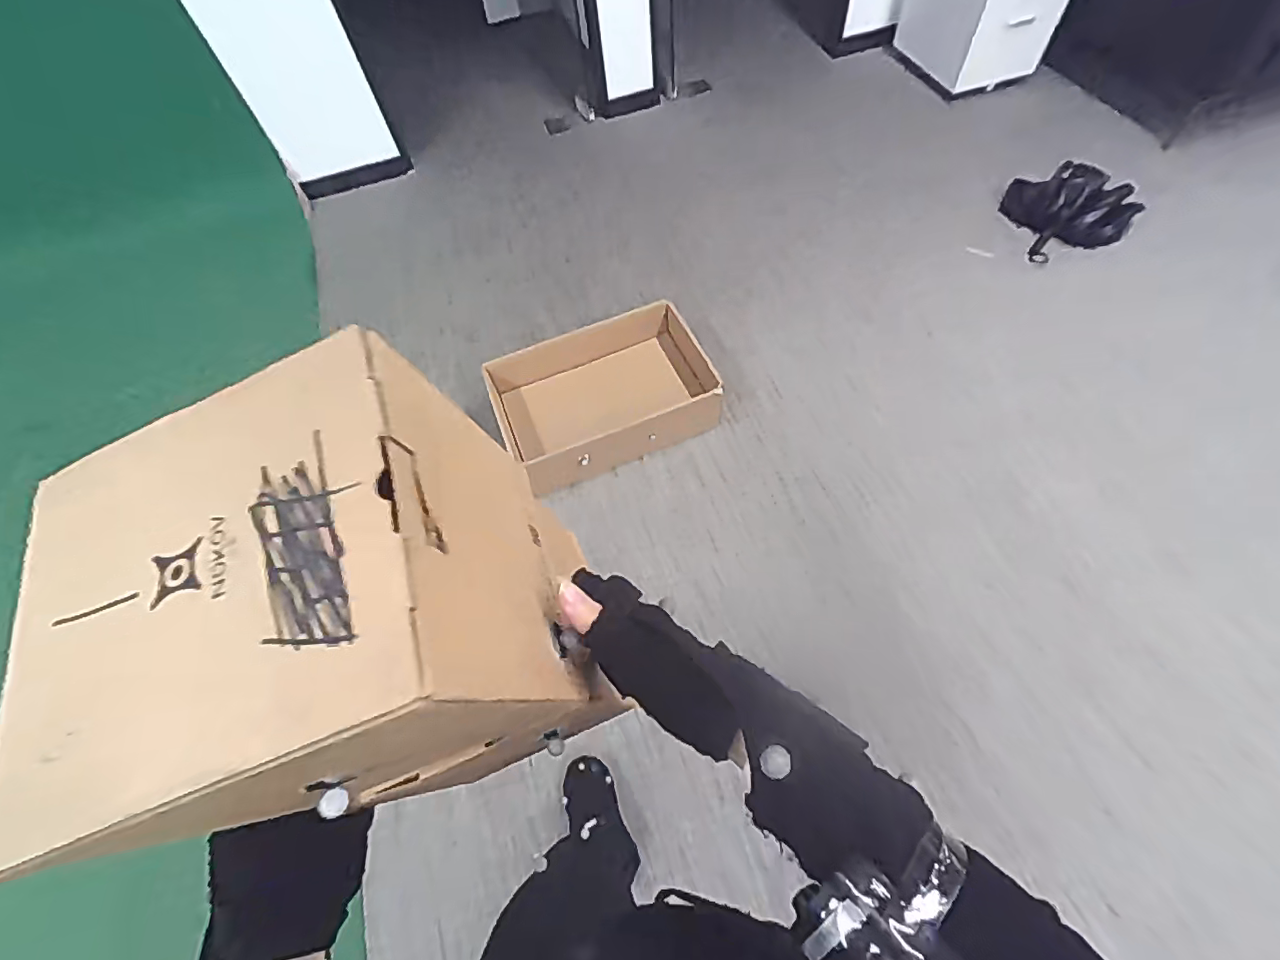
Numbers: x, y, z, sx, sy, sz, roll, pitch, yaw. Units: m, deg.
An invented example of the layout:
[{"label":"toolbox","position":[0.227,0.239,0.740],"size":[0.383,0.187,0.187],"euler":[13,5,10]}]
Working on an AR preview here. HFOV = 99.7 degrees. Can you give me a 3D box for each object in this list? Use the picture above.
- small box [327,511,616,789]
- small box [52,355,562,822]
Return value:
[{"label":"small box","position":[-0.135,0.123,0.447],"size":[0.168,0.176,0.179],"euler":[-25,63,2]},{"label":"small box","position":[-0.158,0.066,0.313],"size":[0.179,0.176,0.168],"euler":[-22,64,4]}]
